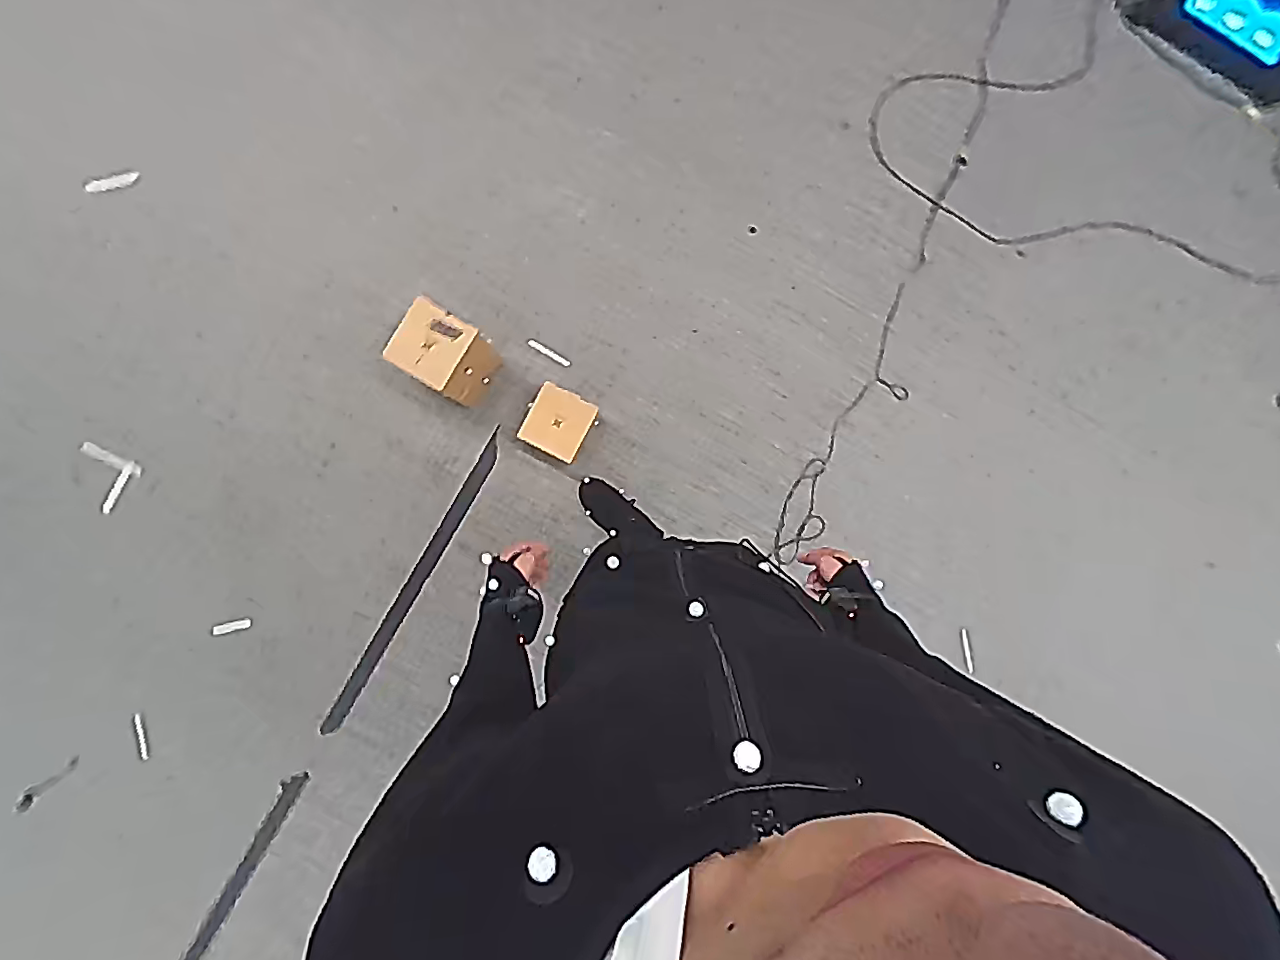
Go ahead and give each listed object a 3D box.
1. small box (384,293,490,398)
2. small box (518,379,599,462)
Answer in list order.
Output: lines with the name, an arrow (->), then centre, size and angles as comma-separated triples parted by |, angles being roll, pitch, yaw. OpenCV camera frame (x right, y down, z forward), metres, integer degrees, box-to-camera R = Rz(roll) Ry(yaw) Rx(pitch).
small box -> -0.498, -0.329, 1.360 | 0.168, 0.176, 0.179 | 31, 89, -3
small box -> -0.225, -0.160, 1.546 | 0.168, 0.176, 0.179 | 27, 88, -4
